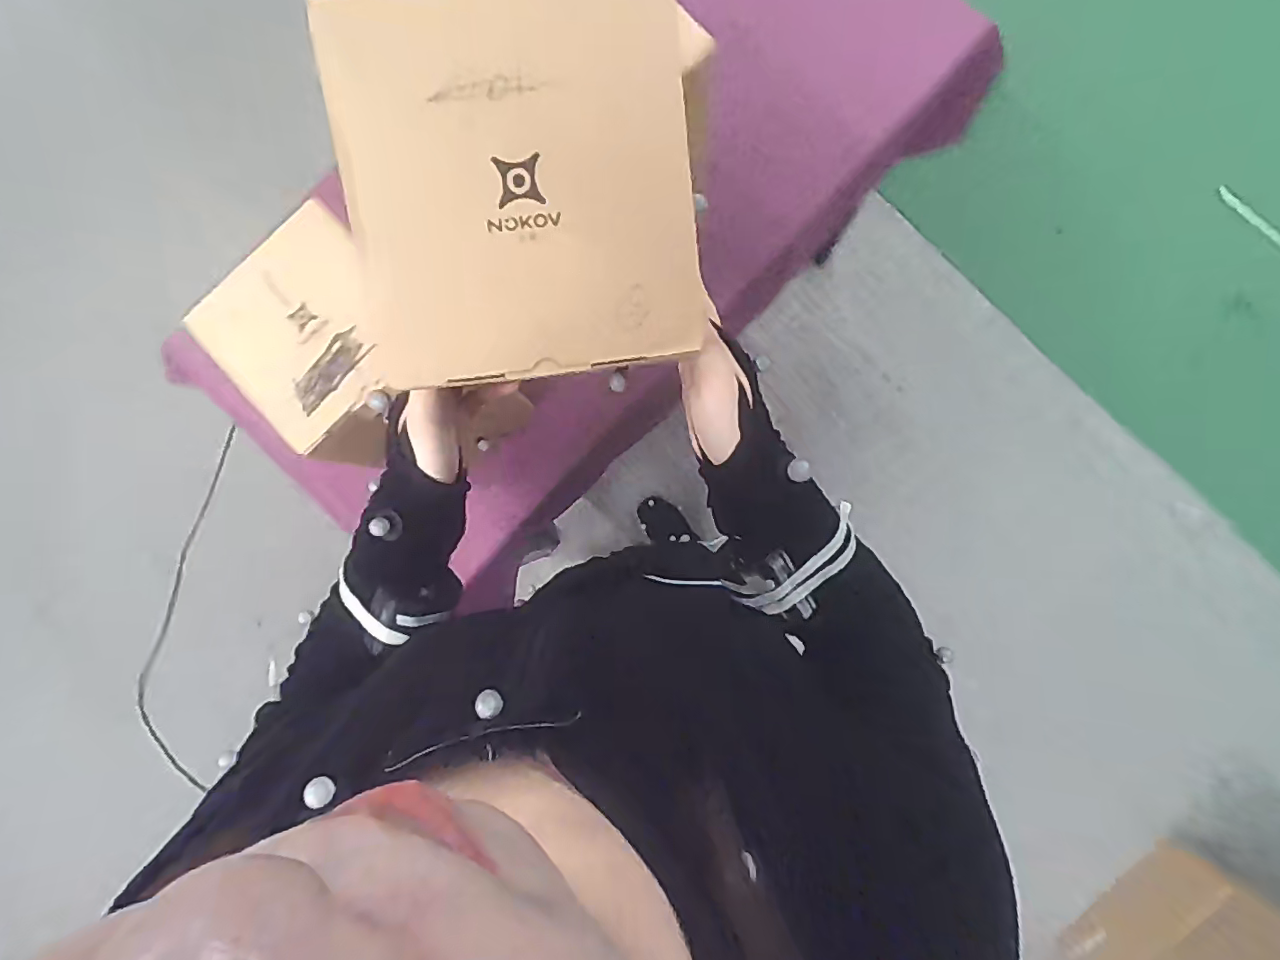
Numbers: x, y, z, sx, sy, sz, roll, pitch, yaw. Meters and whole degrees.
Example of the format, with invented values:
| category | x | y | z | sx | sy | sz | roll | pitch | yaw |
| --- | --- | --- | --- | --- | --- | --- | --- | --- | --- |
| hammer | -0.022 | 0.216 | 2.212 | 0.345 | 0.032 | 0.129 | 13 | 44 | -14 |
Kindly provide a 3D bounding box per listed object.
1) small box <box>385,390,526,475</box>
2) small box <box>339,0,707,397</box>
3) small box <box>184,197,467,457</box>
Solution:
| category | x | y | z | sx | sy | sz | roll | pitch | yaw |
| --- | --- | --- | --- | --- | --- | --- | --- | --- | --- |
| small box | -0.280 | -0.122 | 0.726 | 0.168 | 0.176 | 0.179 | -44 | 87 | 0 |
| small box | -0.053 | -0.151 | 0.342 | 0.168 | 0.176 | 0.179 | -5 | 102 | -2 |
| small box | -0.292 | -0.137 | 0.562 | 0.168 | 0.176 | 0.179 | -43 | 85 | 0 |
